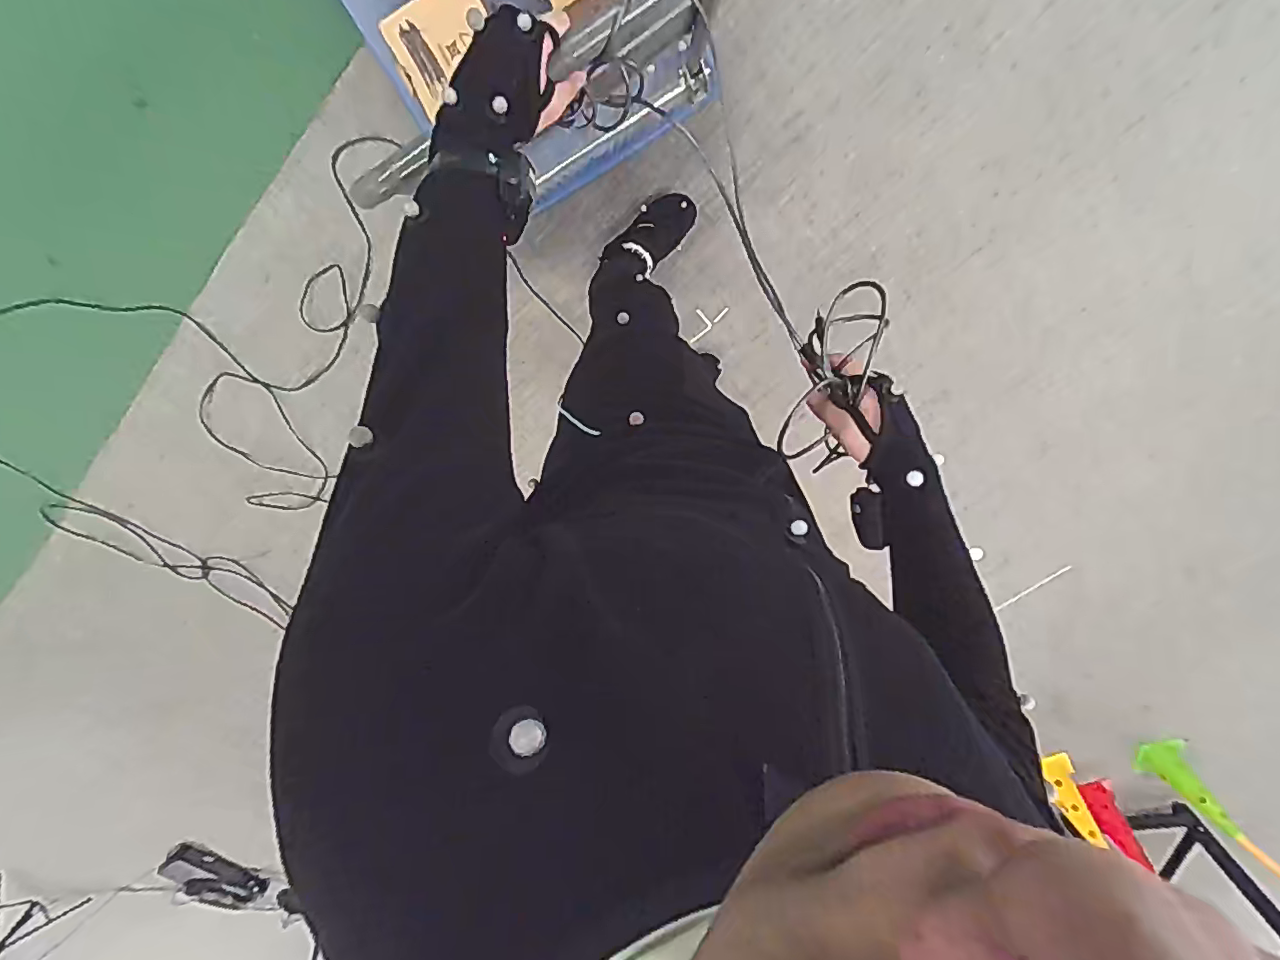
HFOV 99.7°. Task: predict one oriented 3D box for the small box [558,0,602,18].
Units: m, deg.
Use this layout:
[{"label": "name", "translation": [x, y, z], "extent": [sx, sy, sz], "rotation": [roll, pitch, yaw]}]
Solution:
[{"label": "small box", "translation": [-0.101, -0.925, 0.897], "extent": [0.168, 0.176, 0.179], "rotation": [-24, 117, 13]}]
